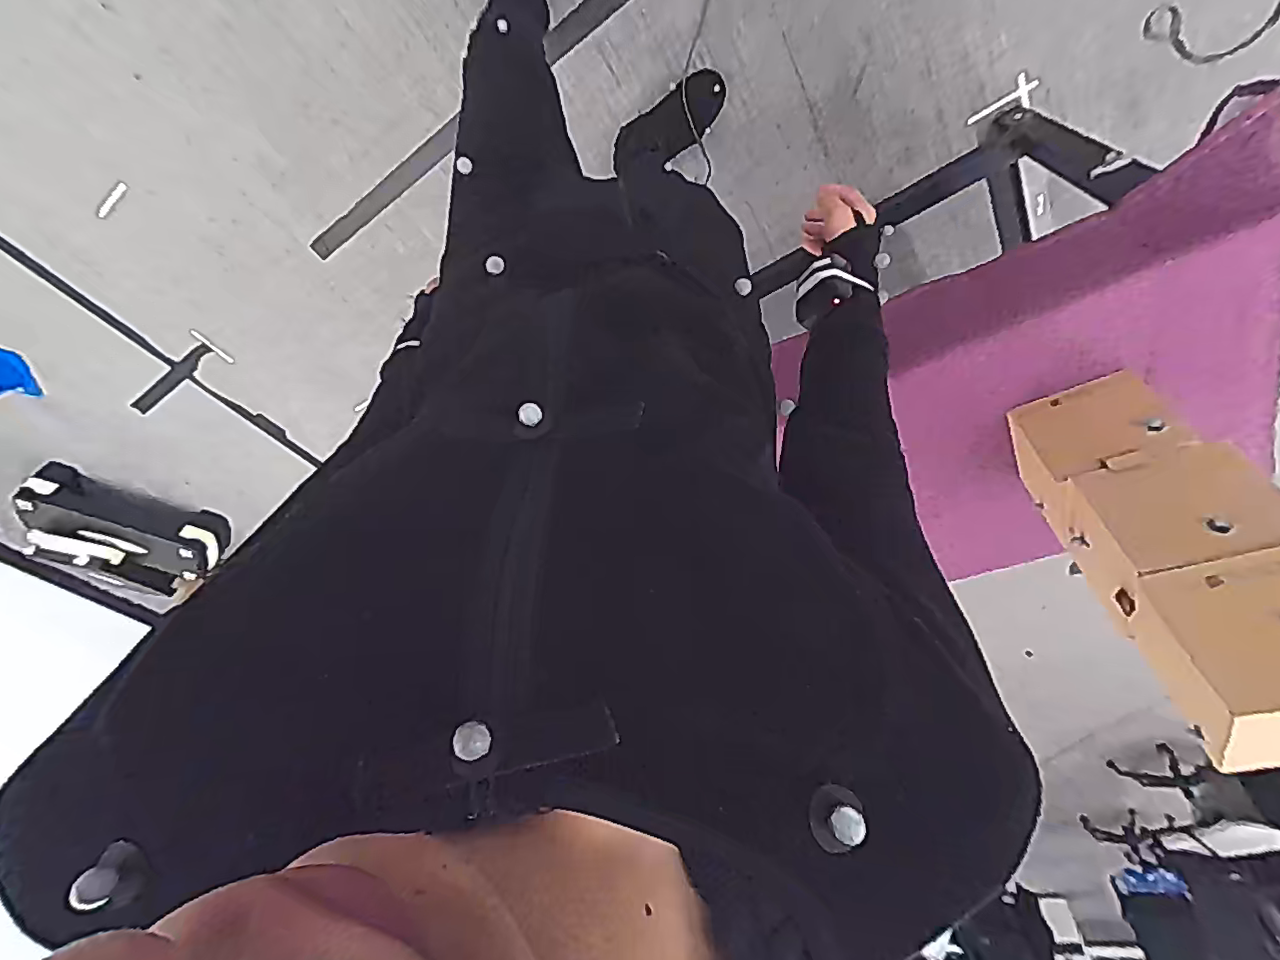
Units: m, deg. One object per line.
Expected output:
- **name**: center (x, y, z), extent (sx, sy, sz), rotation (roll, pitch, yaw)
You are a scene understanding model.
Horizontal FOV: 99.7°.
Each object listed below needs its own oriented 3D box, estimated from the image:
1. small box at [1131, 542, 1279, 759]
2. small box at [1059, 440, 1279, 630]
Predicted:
- **small box**: center (0.691, 0.185, 0.601), extent (0.168, 0.176, 0.179), rotation (-23, 130, 24)
- **small box**: center (0.702, 0.071, 0.718), extent (0.179, 0.176, 0.168), rotation (-17, 131, 20)
